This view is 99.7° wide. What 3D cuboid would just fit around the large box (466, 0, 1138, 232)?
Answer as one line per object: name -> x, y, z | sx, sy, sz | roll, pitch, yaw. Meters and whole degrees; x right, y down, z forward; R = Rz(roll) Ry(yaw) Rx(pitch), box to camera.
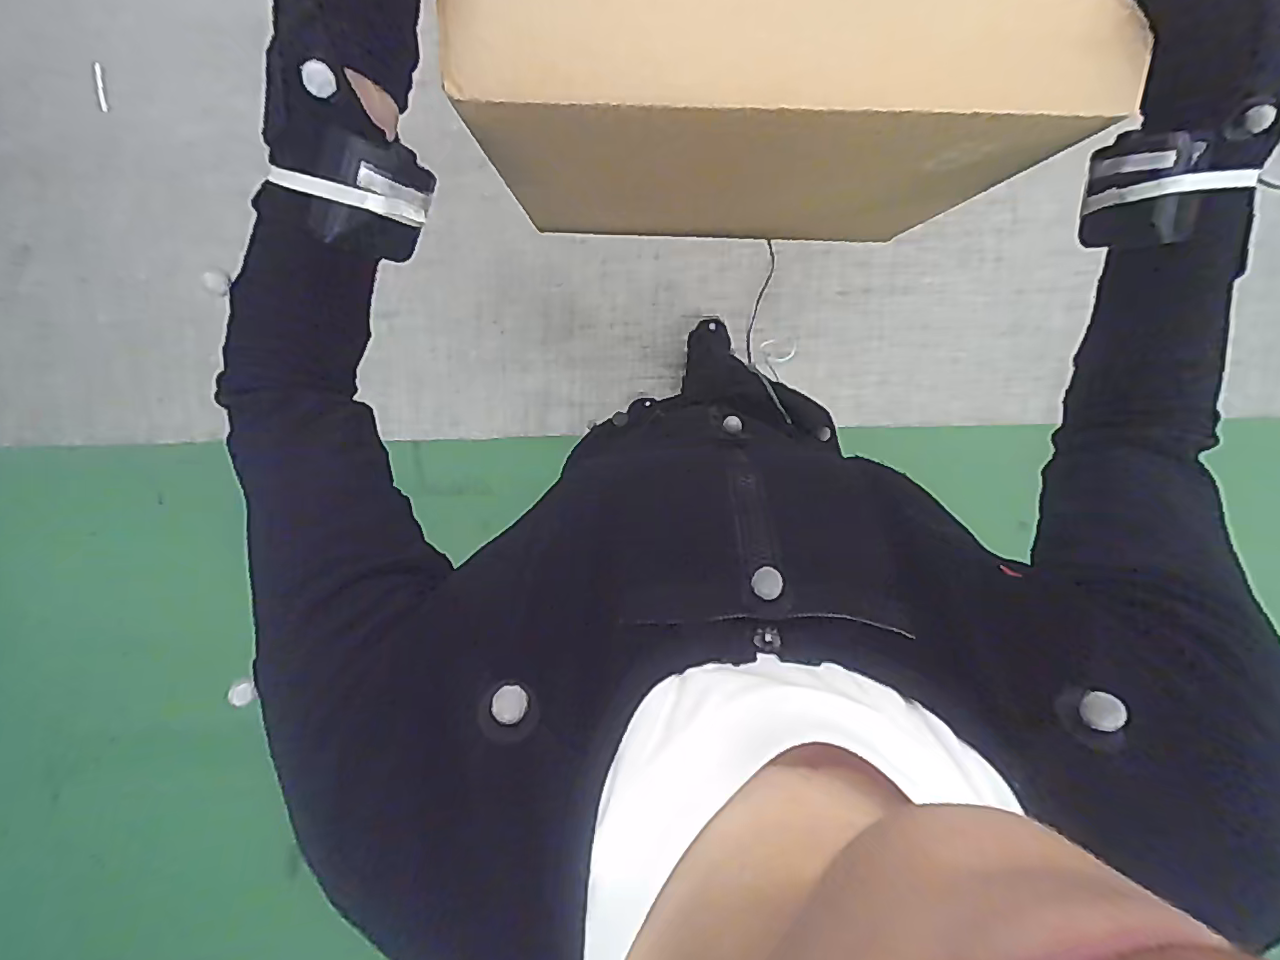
large box -> 0.091, -0.406, 0.443 | 0.408, 0.320, 0.320 | 0, 102, -2
